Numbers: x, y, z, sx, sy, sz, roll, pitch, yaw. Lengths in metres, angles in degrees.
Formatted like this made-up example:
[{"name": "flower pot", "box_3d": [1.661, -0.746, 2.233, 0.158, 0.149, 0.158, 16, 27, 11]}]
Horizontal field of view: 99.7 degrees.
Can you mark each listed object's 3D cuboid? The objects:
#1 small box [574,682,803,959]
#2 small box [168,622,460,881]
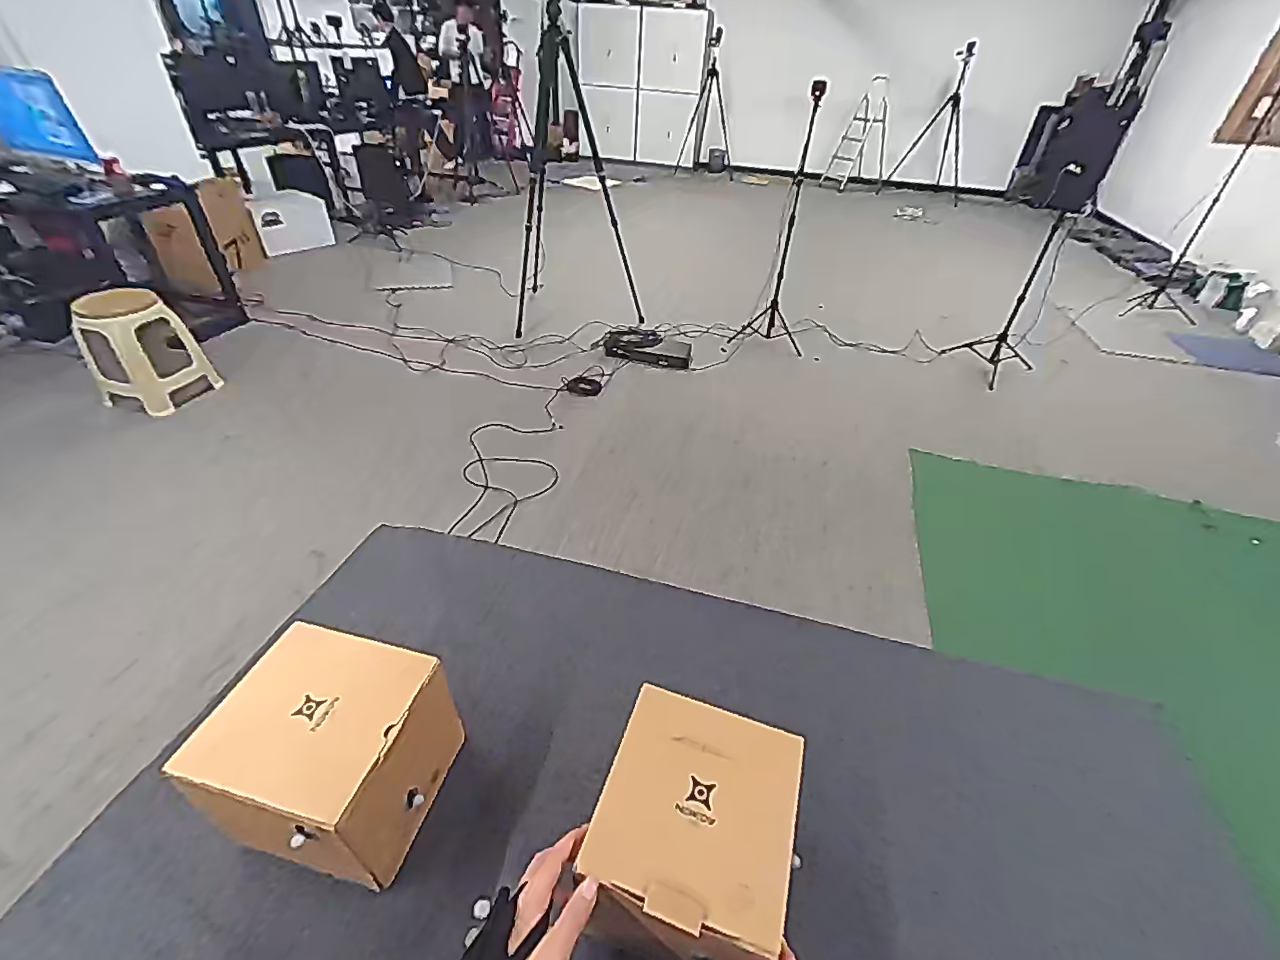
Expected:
[{"name": "small box", "box_3d": [0.048, 0.338, 0.521, 0.168, 0.176, 0.179, 15, 39, 12]}, {"name": "small box", "box_3d": [-0.313, 0.281, 0.564, 0.179, 0.176, 0.168, 11, 39, 8]}]
